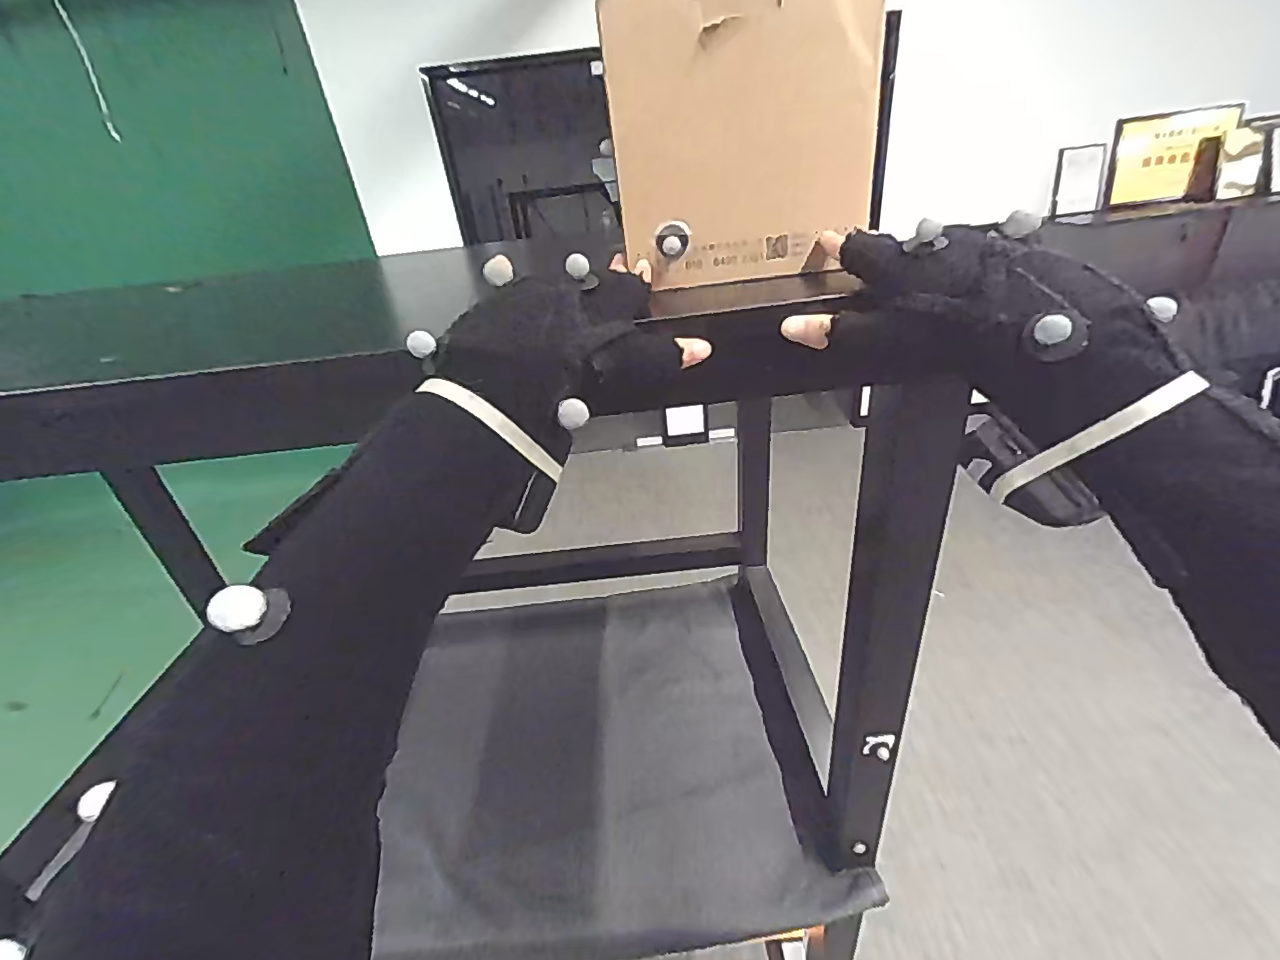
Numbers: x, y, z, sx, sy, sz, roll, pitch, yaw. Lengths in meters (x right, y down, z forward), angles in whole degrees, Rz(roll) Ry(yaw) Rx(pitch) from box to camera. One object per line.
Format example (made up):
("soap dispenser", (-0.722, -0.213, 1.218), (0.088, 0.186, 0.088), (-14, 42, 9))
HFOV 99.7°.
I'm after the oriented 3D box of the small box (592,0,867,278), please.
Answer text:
("small box", (0.065, -0.258, 0.418), (0.168, 0.176, 0.179), (-5, 28, 4))
